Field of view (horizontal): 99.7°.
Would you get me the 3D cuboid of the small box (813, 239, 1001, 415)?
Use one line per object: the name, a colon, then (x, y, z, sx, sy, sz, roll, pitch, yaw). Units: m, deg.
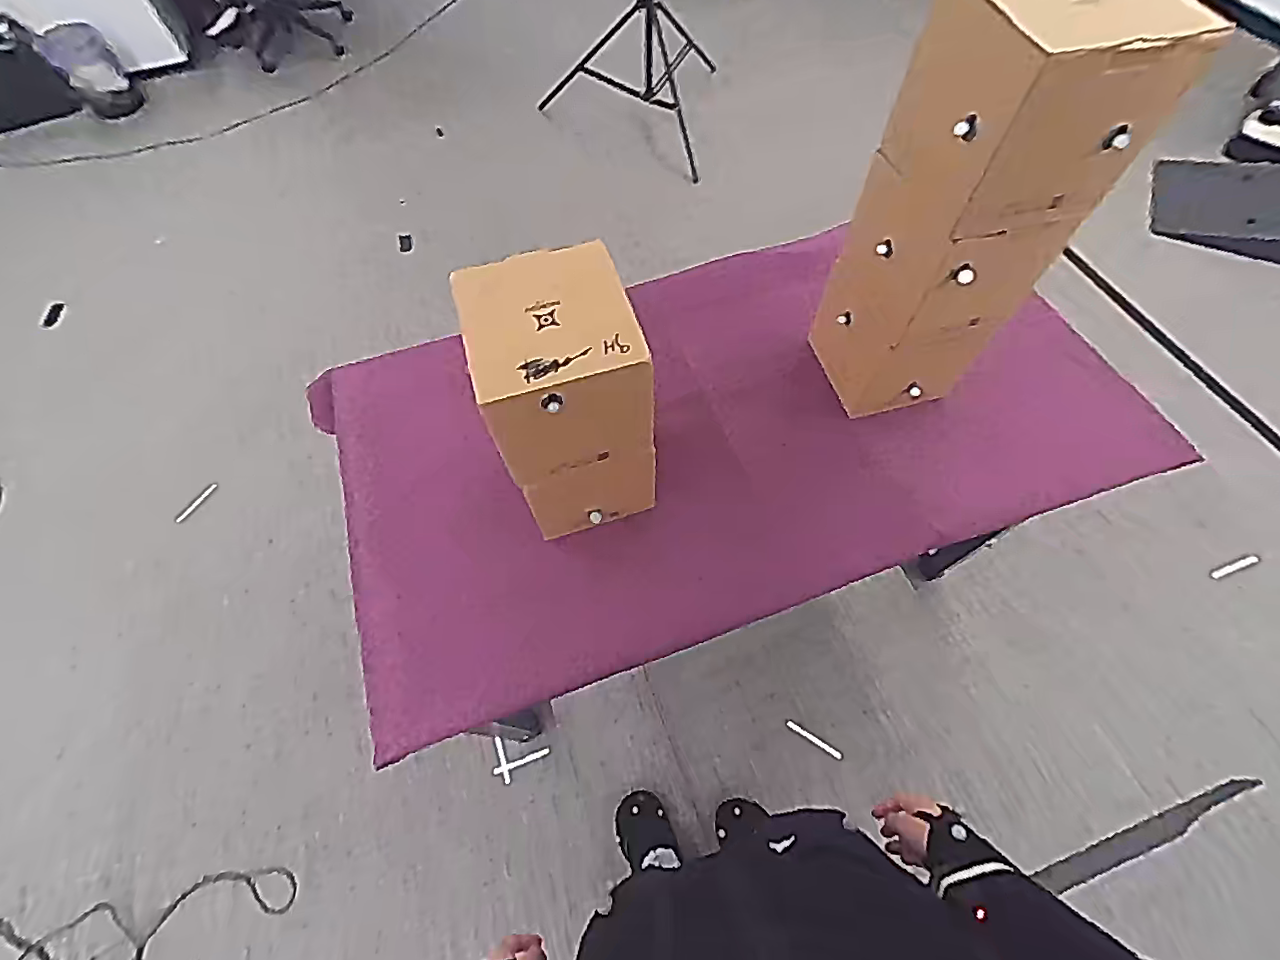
small box: (0.384, -0.226, 0.820, 0.168, 0.176, 0.179, -14, 63, -5)

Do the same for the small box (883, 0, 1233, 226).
small box: (0.373, -0.371, 0.528, 0.168, 0.176, 0.179, -12, 61, -5)

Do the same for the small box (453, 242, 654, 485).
small box: (-0.089, -0.121, 0.594, 0.168, 0.176, 0.179, -16, 63, -7)

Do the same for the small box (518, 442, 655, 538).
small box: (-0.084, -0.046, 0.739, 0.168, 0.176, 0.179, -17, 64, -7)
